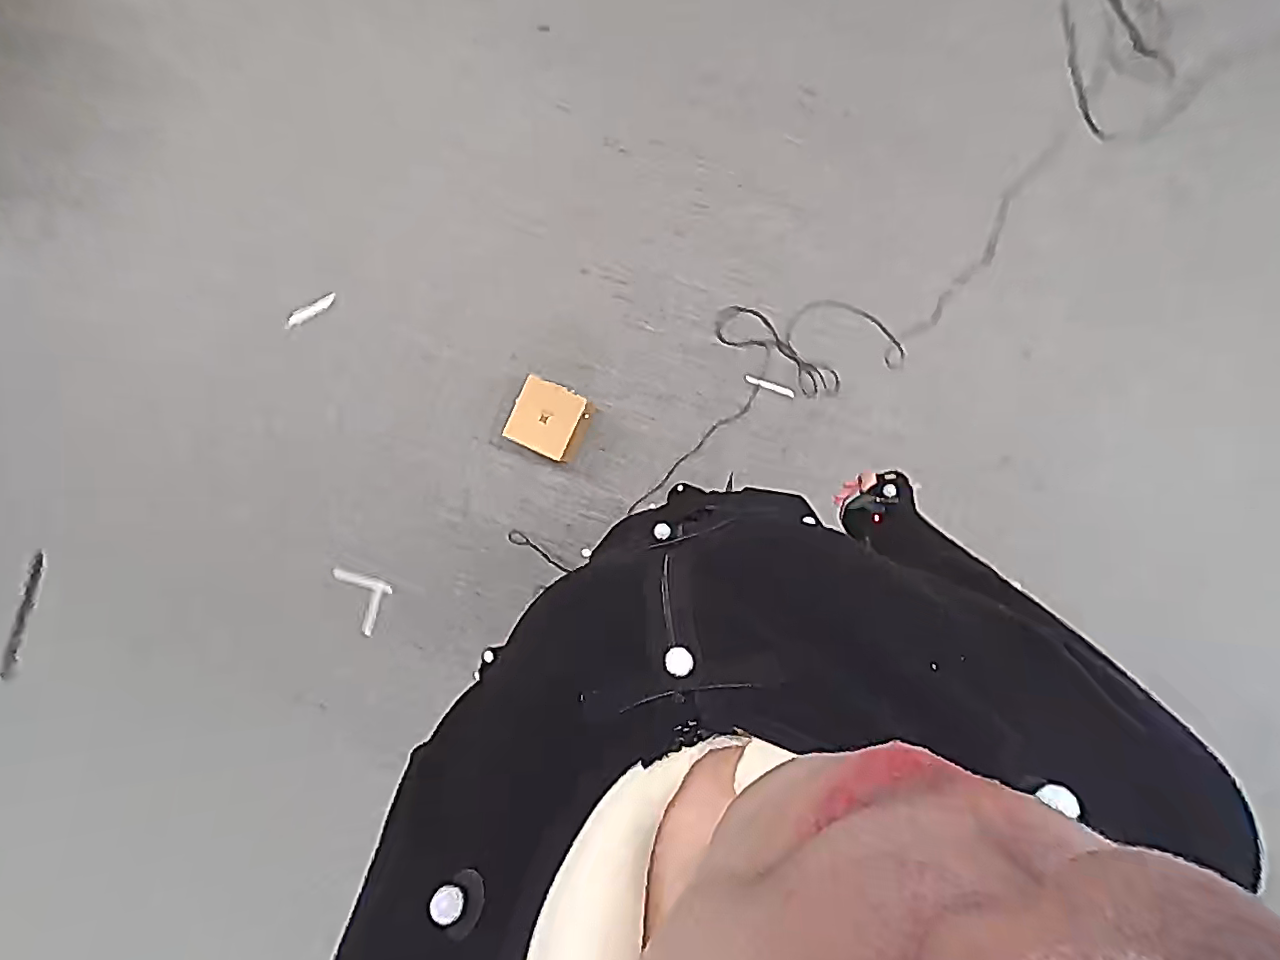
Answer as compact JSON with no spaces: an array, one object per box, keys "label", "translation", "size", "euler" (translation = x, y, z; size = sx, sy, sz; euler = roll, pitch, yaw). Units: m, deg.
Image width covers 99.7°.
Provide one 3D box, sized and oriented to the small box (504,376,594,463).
[{"label":"small box","translation":[-0.233,-0.154,1.447],"size":[0.168,0.176,0.179],"euler":[24,91,3]}]
